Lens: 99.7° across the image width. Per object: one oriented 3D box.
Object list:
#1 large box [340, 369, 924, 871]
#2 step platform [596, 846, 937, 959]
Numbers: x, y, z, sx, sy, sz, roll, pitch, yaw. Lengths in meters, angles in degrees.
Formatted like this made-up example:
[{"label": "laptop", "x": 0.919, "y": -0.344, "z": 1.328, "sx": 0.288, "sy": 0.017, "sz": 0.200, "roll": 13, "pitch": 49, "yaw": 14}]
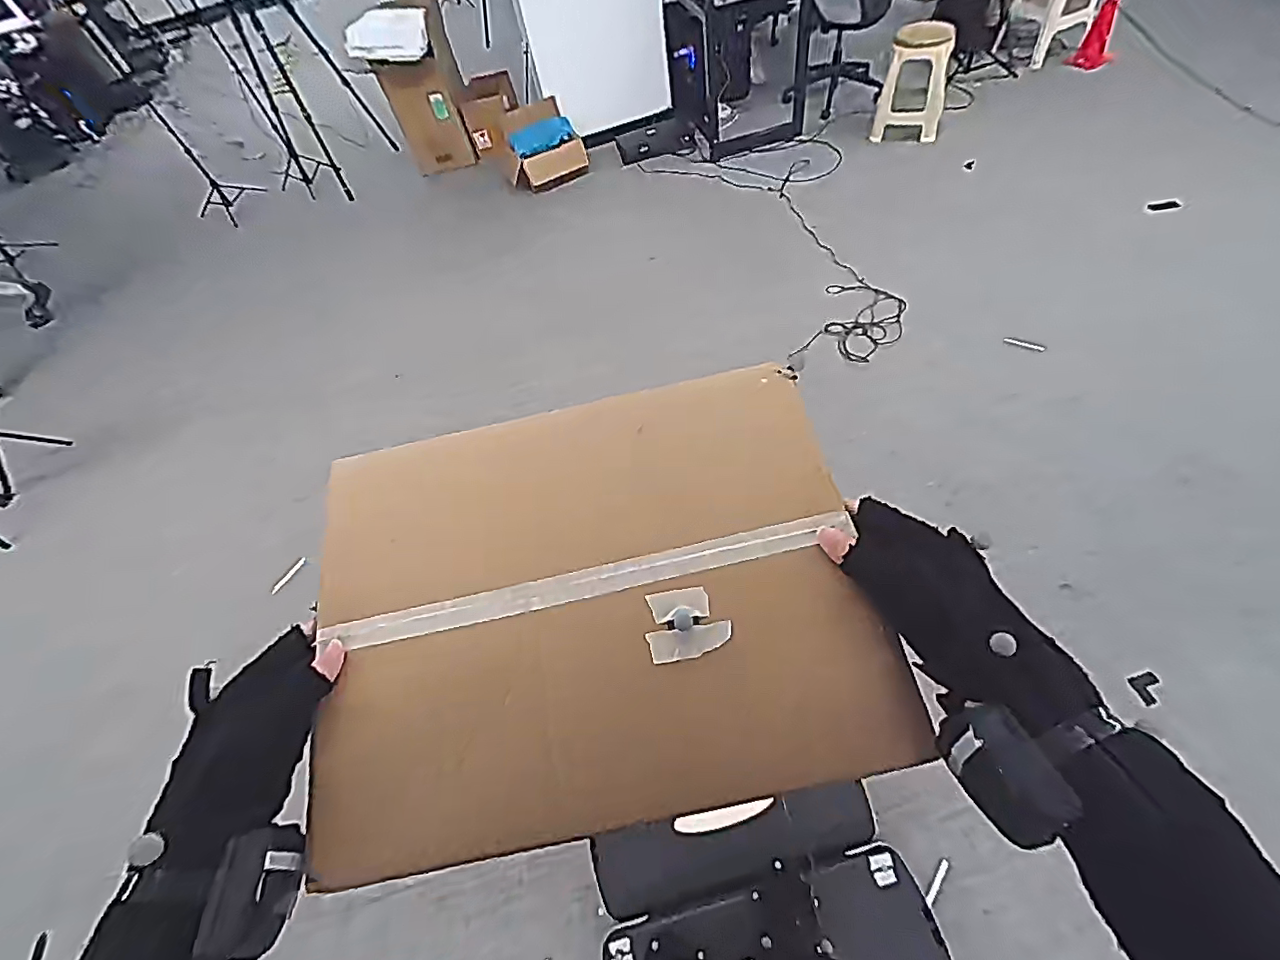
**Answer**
[{"label": "large box", "x": -0.020, "y": 0.142, "z": 0.551, "sx": 0.408, "sy": 0.320, "sz": 0.320, "roll": -13, "pitch": 65, "yaw": 1}, {"label": "step platform", "x": 0.253, "y": 1.015, "z": 1.115, "sx": 0.684, "sy": 0.204, "sz": 0.286, "roll": -19, "pitch": 53, "yaw": 0}]
